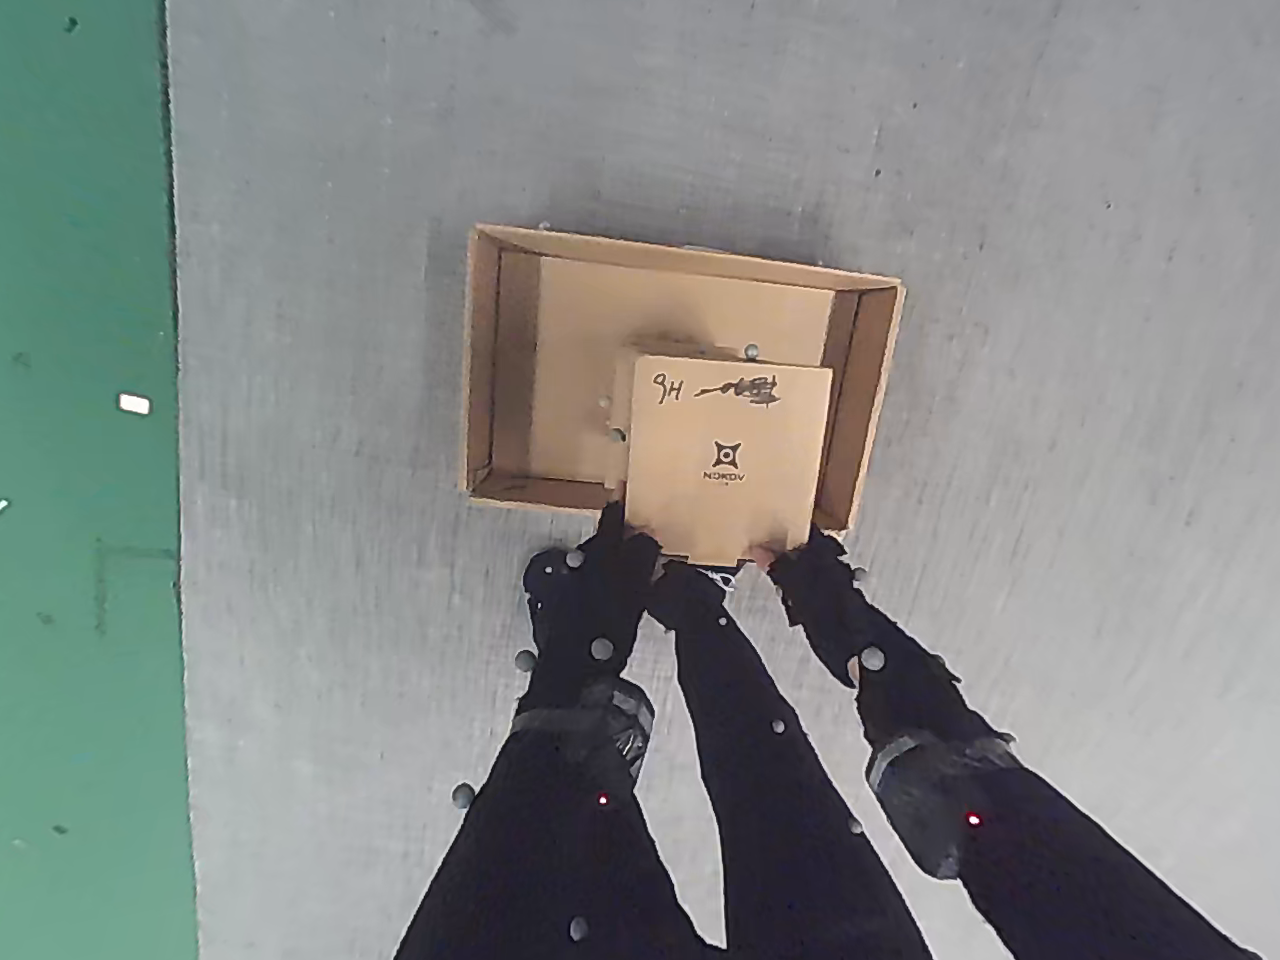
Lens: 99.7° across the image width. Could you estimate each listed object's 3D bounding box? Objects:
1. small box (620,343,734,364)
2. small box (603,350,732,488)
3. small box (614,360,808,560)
[{"bbox_3d":[0.044,-0.121,0.861,0.168,0.176,0.179,5,103,-3],"label":"small box"},{"bbox_3d":[0.048,-0.080,0.719,0.179,0.176,0.168,6,103,-3],"label":"small box"},{"bbox_3d":[0.061,-0.031,0.566,0.168,0.176,0.179,2,103,-1],"label":"small box"}]
